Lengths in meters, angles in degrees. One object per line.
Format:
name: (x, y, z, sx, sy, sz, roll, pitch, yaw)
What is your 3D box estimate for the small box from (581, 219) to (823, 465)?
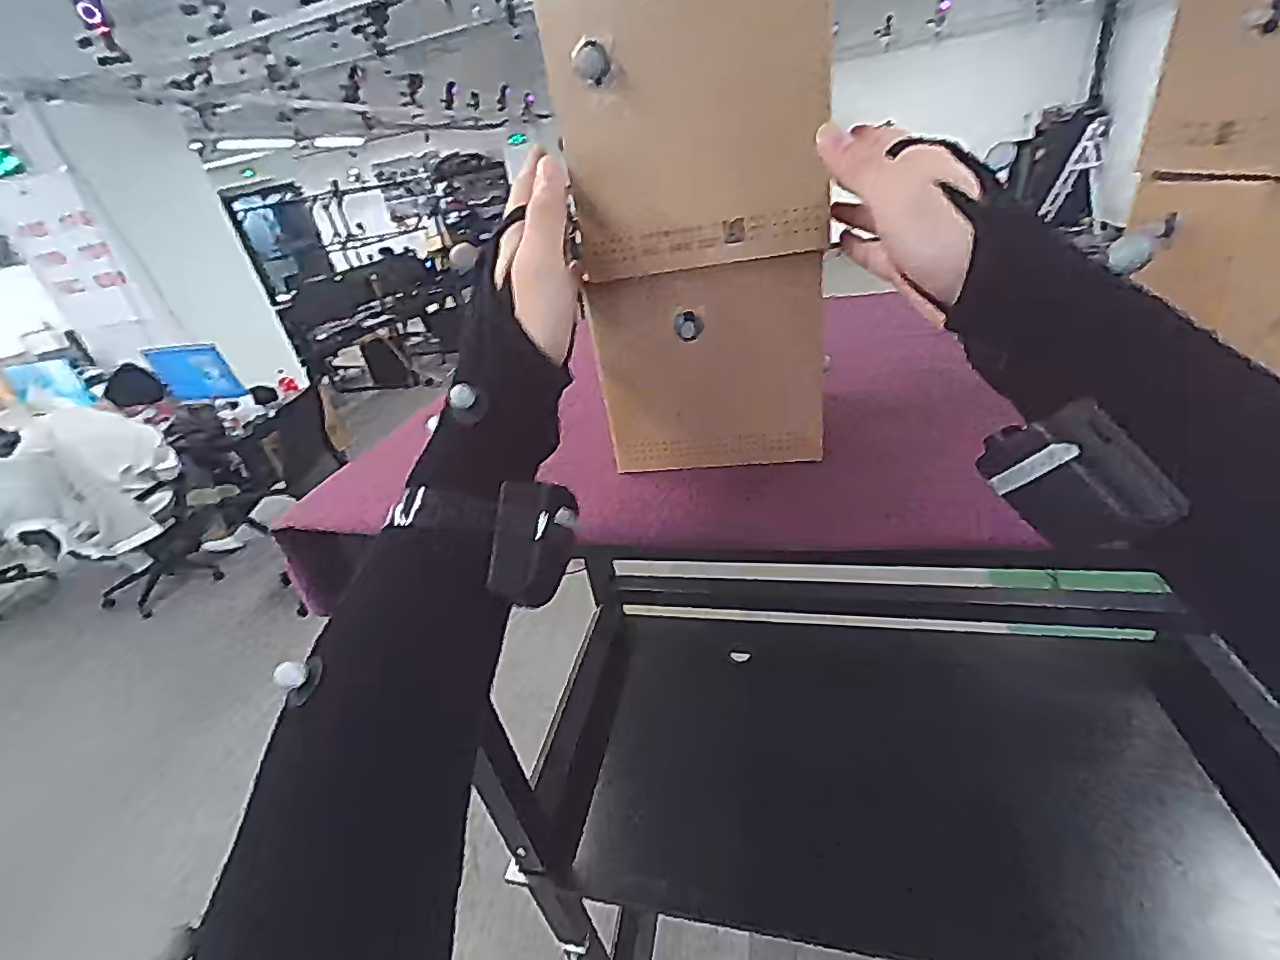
small box: (0.066, -0.123, 0.486, 0.179, 0.176, 0.168, -3, 31, 13)

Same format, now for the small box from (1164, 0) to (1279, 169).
small box: (0.476, -0.298, 0.330, 0.179, 0.176, 0.168, -1, 31, 16)
